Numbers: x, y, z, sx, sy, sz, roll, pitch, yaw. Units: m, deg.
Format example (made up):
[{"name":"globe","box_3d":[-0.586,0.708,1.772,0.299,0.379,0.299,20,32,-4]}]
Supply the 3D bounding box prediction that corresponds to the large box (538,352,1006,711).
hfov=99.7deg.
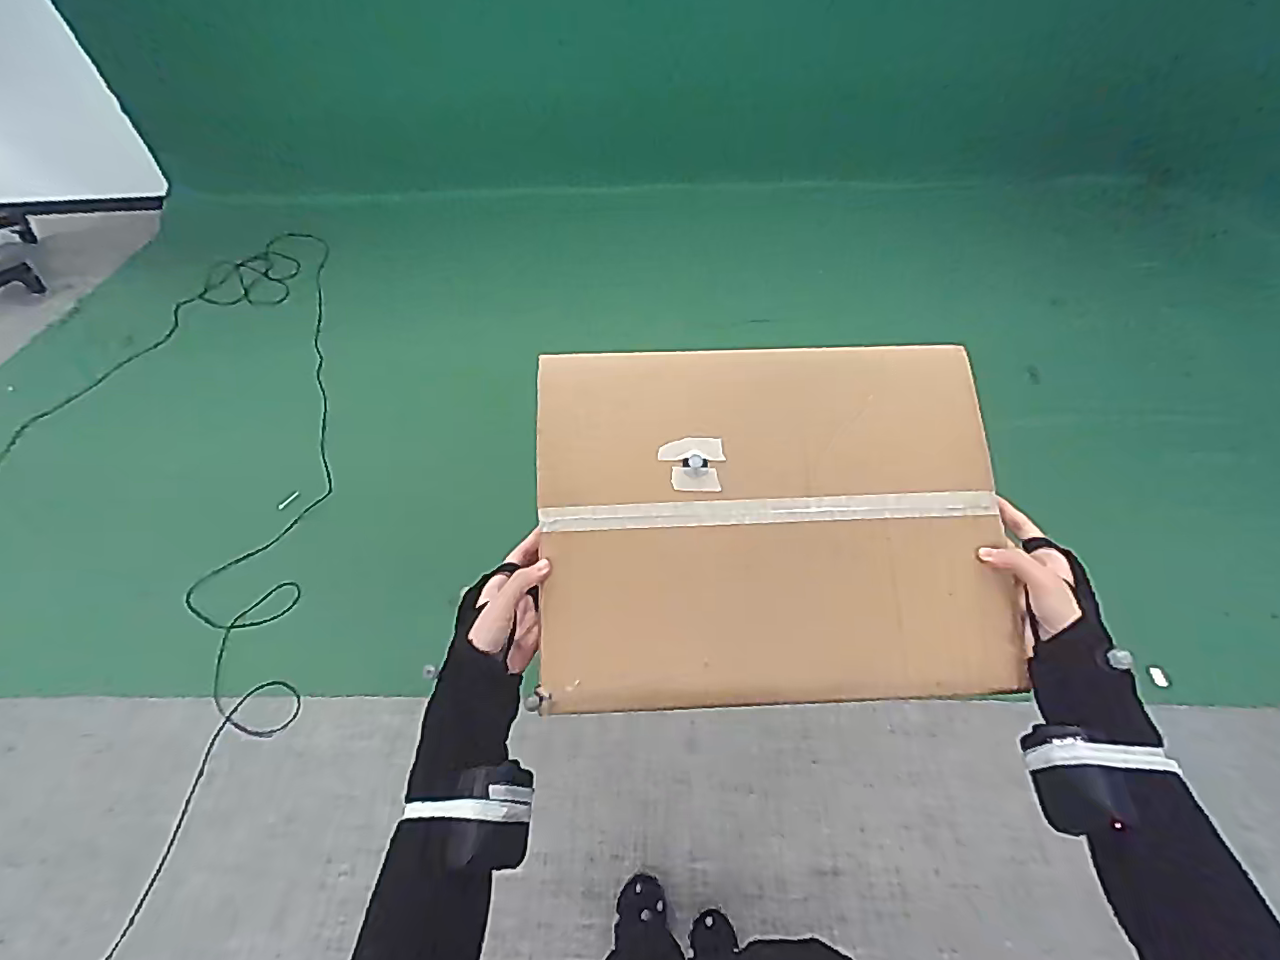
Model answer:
[{"name":"large box","box_3d":[0.110,0.067,0.635,0.408,0.320,0.320,-3,76,-1]}]
